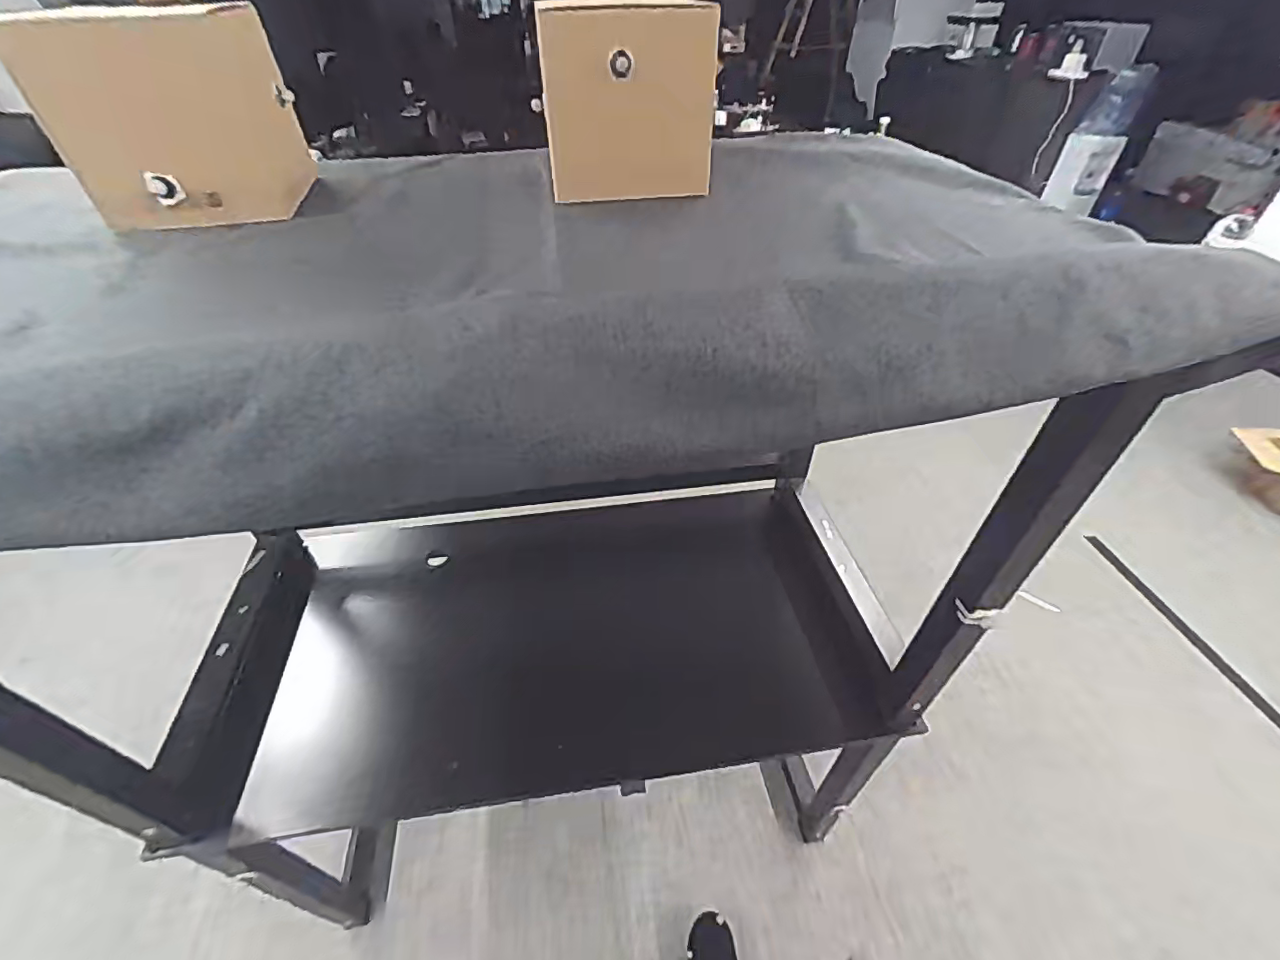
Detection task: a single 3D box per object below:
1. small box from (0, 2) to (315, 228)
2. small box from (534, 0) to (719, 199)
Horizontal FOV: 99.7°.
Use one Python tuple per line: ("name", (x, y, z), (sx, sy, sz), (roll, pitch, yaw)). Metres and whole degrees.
("small box", (-0.461, -0.372, 0.551), (0.168, 0.176, 0.179), (-11, 44, -10))
("small box", (-0.019, -0.428, 0.607), (0.179, 0.176, 0.168), (-6, 43, -6))
